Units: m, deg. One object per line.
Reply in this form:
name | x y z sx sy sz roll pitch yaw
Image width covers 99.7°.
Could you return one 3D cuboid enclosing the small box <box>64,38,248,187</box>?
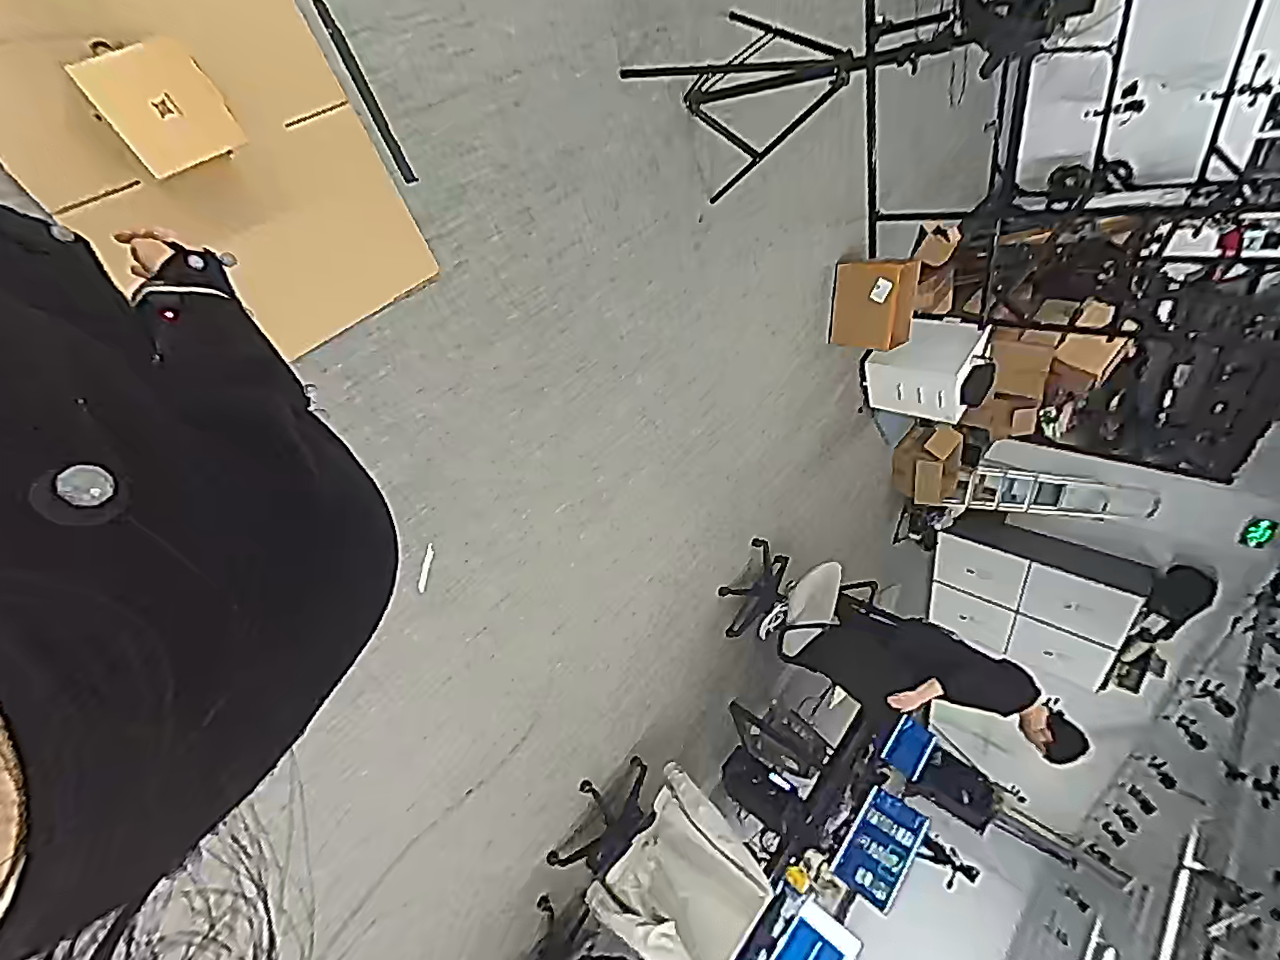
small box | -0.856 -0.644 0.965 0.179 0.176 0.168 -46 135 -24
